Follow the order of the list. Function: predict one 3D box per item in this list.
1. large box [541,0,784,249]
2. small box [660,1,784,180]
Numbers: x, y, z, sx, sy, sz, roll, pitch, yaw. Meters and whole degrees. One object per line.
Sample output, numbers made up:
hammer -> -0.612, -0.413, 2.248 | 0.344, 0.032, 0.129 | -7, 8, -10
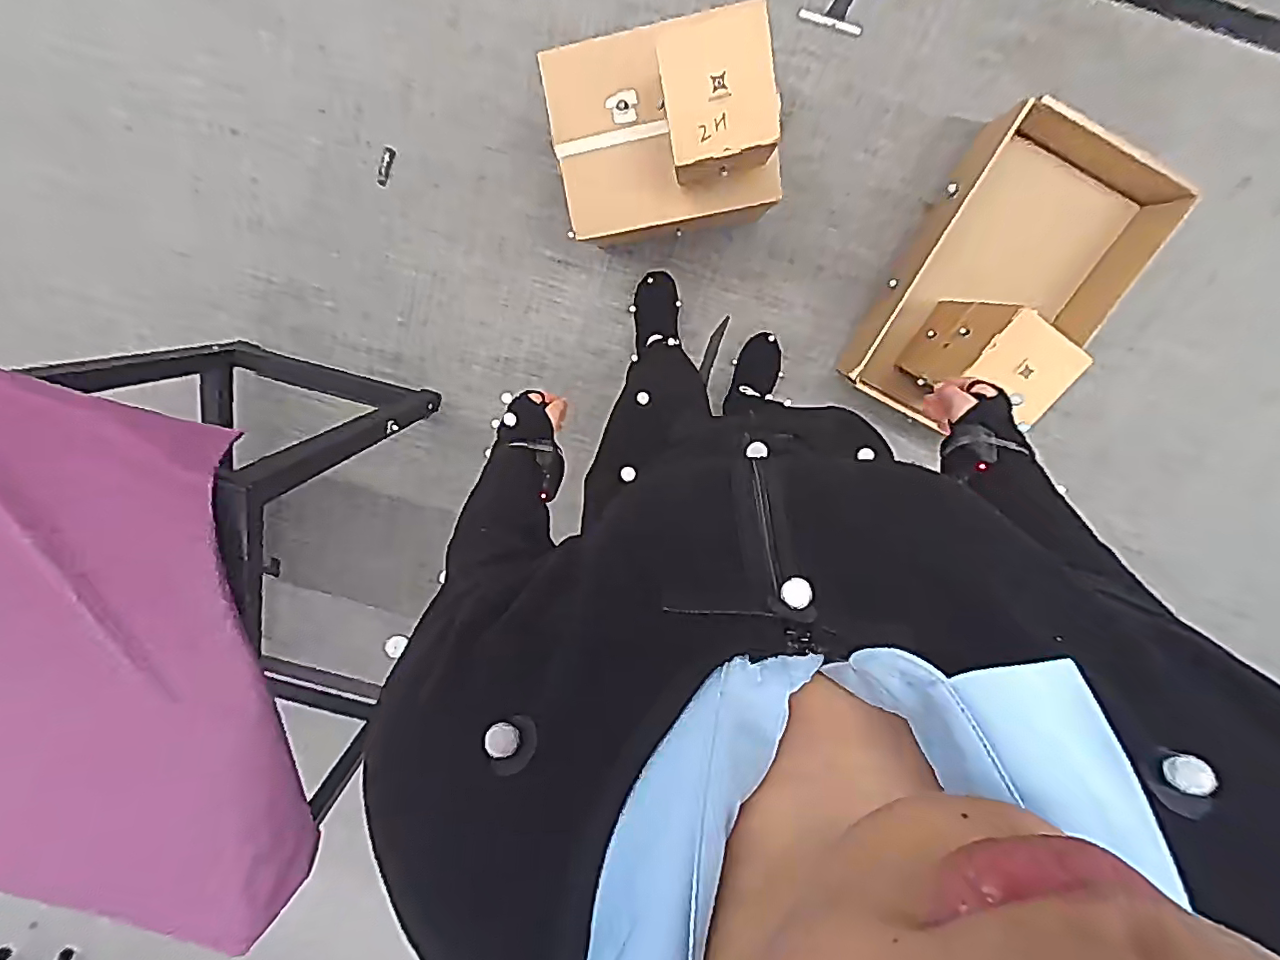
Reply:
large box -> 0.059, -0.683, 1.114 | 0.408, 0.320, 0.320 | -8, 108, 9
small box -> 0.129, -0.609, 0.872 | 0.168, 0.176, 0.179 | -9, 110, 10
